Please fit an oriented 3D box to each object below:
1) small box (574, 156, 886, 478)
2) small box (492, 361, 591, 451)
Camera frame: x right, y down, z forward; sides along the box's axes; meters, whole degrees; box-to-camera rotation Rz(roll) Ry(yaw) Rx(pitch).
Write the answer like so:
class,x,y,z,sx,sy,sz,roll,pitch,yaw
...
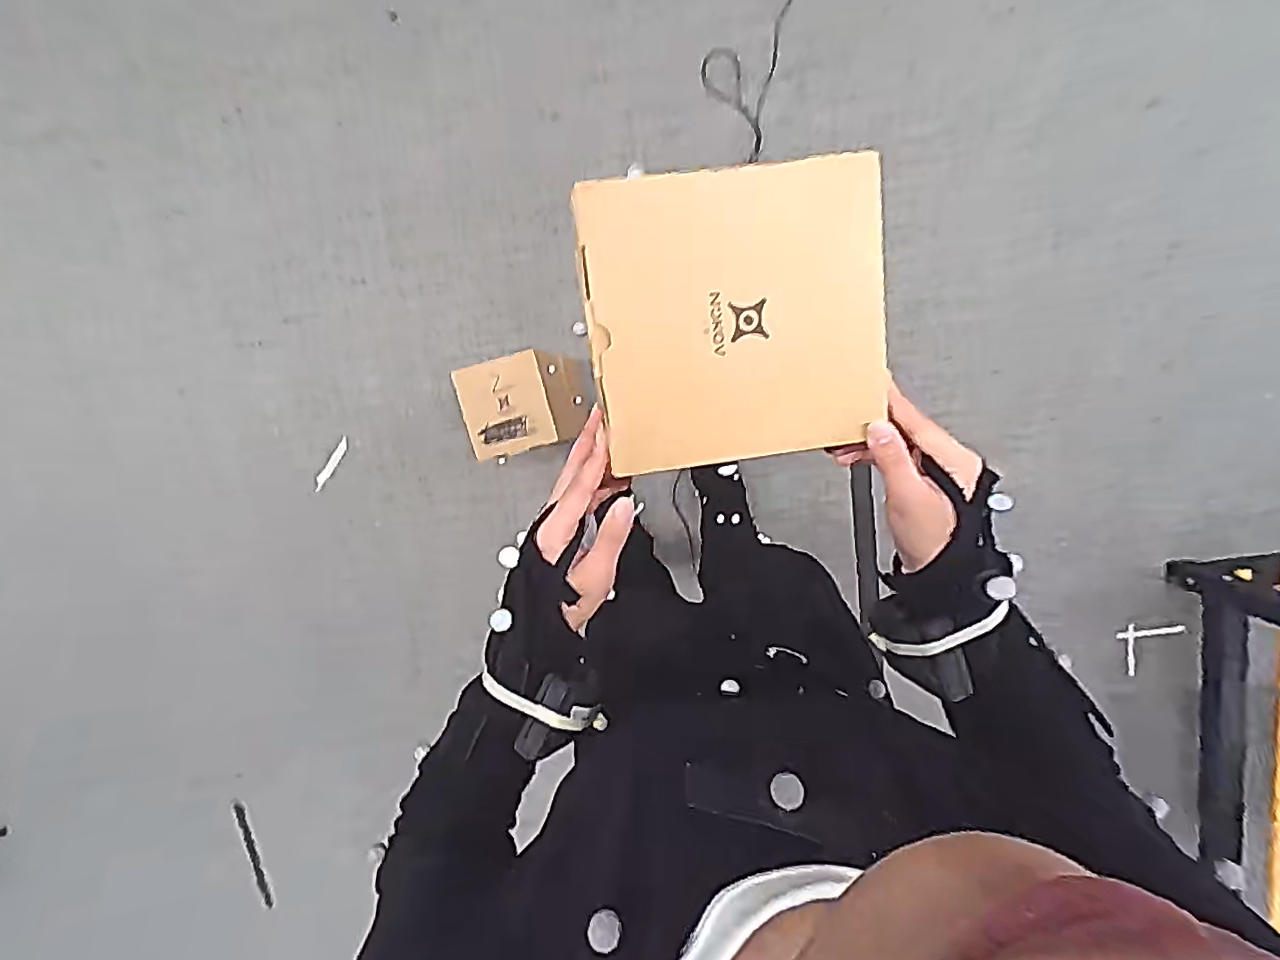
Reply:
class,x,y,z,sx,sy,sz,roll,pitch,yaw
small box,0.051,-0.109,0.391,0.179,0.176,0.168,-9,103,-2
small box,-0.218,-0.173,1.242,0.168,0.176,0.179,-9,99,7
